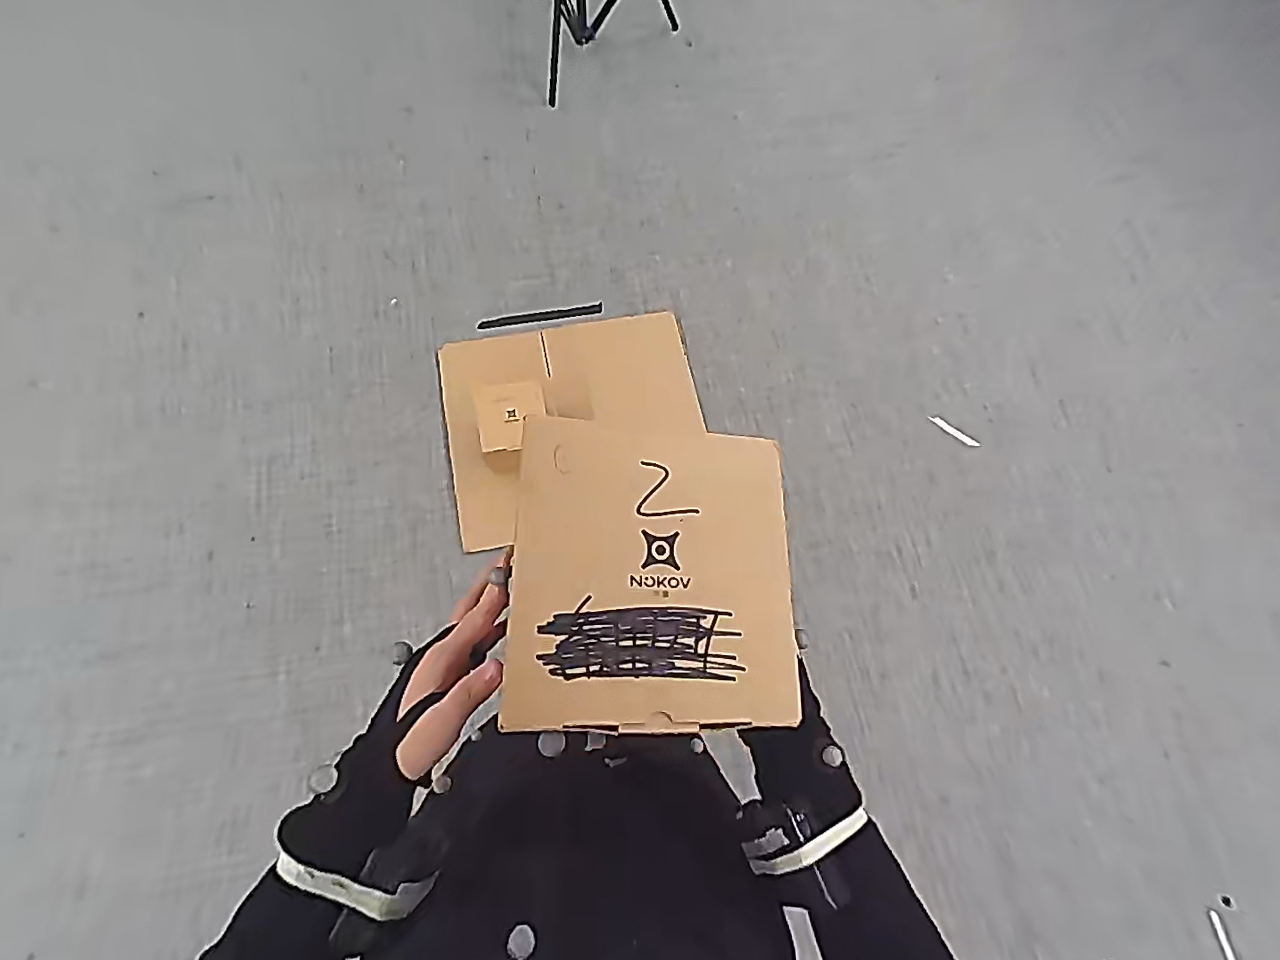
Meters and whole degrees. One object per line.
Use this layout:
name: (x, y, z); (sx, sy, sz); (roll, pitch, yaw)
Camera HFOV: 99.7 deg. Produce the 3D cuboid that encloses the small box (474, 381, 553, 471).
small box: (-0.320, -0.131, 1.395); (0.168, 0.176, 0.179); (-9, 74, -8)
